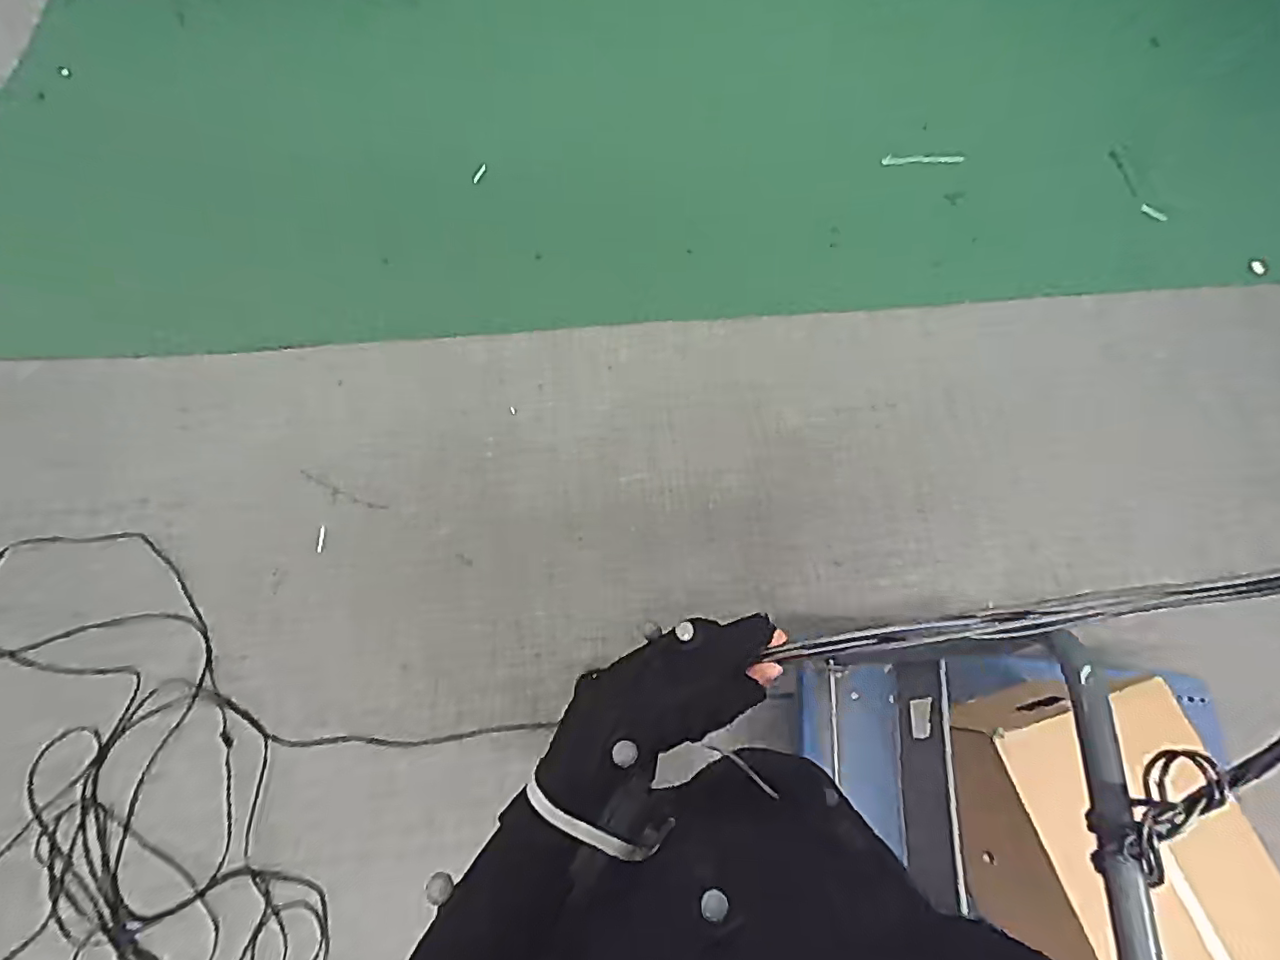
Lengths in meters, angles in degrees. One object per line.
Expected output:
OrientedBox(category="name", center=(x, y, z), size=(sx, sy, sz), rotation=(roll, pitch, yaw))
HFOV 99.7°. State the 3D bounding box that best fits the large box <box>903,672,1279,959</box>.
OrientedBox(category="large box", center=(0.744, 0.585, 0.939), size=(0.320, 0.320, 0.408), rotation=(-14, 69, -6))
